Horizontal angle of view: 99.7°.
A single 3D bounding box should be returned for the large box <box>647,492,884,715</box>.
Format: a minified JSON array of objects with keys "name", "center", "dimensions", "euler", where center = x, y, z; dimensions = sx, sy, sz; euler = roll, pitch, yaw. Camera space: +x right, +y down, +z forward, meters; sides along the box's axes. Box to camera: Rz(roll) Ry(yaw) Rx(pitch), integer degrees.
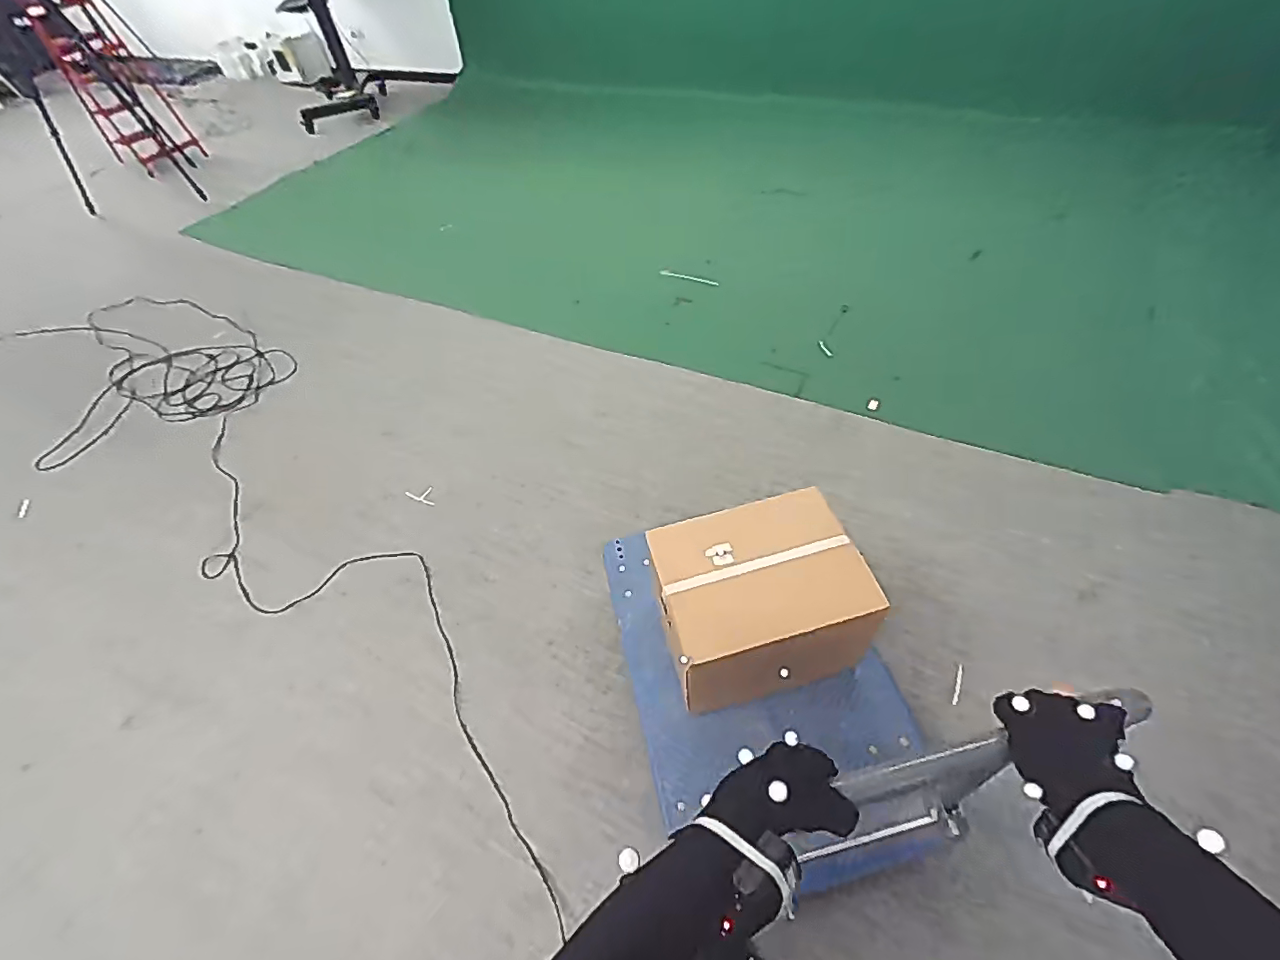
[{"name":"large box","center":[0.258,0.284,1.225],"dimensions":[0.408,0.320,0.320],"euler":[-16,50,-5]}]
